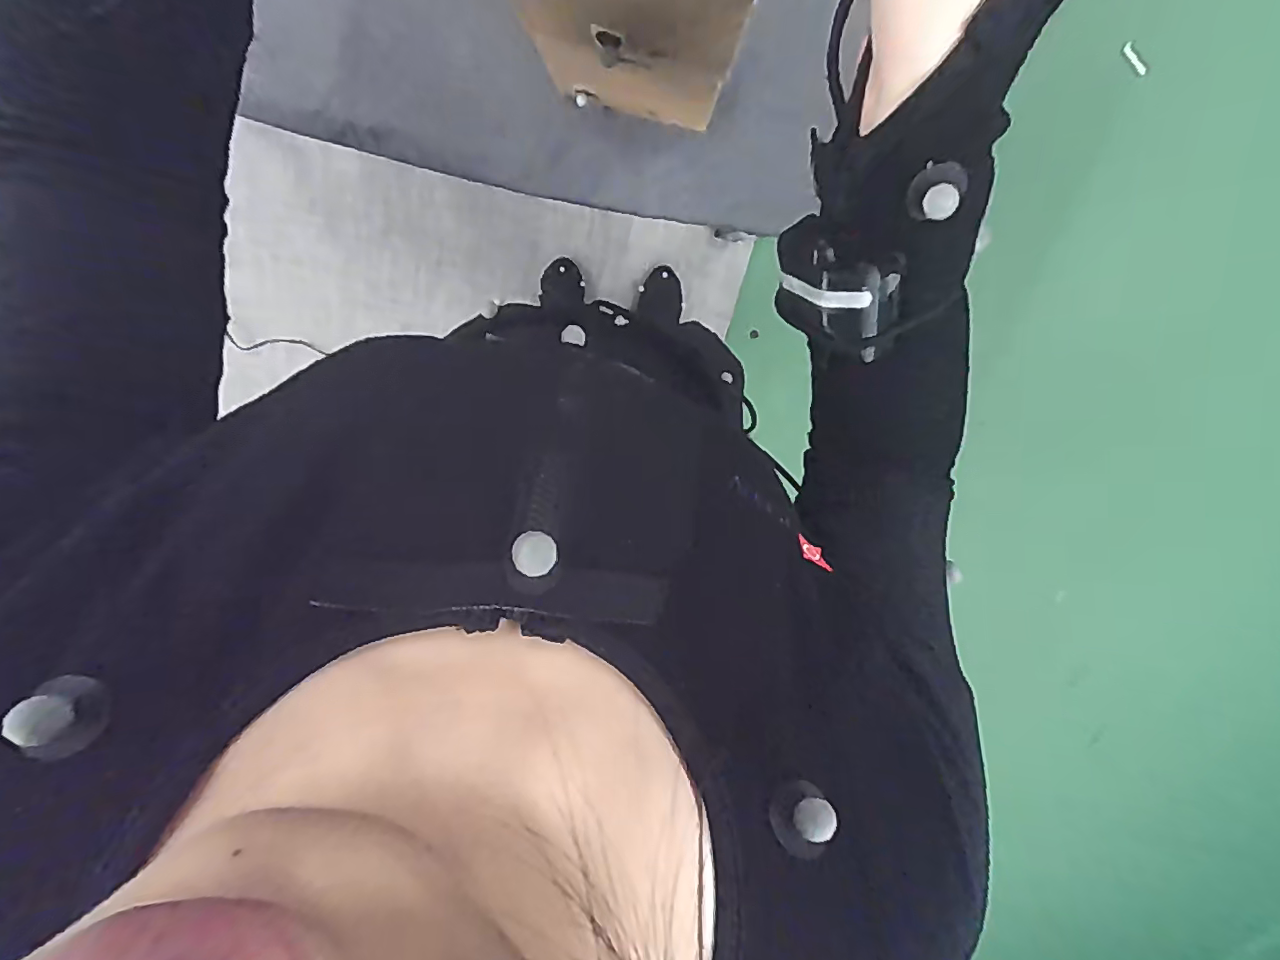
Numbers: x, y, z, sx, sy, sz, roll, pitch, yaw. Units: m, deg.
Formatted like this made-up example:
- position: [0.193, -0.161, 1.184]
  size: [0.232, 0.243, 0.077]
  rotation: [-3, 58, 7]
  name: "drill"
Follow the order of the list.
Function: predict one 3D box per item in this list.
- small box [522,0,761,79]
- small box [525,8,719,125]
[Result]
- position: [0.005, -0.386, 0.329]
  size: [0.168, 0.176, 0.179]
  rotation: [10, 111, -1]
  name: "small box"
- position: [0.009, -0.447, 0.479]
  size: [0.168, 0.176, 0.179]
  rotation: [13, 109, -4]
  name: "small box"
